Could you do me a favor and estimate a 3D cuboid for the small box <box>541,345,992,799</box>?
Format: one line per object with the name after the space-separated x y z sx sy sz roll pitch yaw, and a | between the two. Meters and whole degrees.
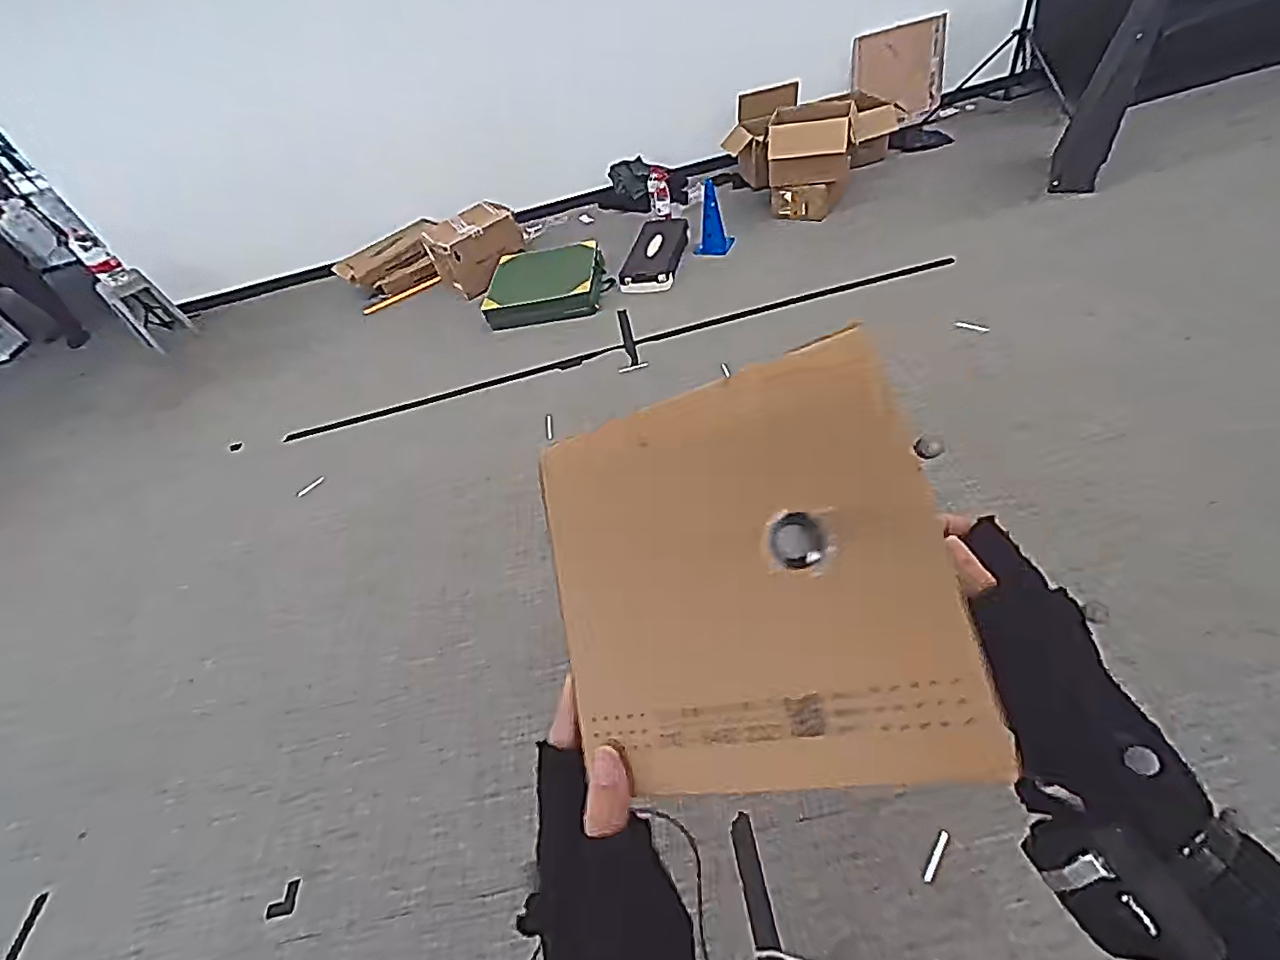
0.074 0.057 0.299 0.168 0.179 0.176 -19 74 28 | small box
